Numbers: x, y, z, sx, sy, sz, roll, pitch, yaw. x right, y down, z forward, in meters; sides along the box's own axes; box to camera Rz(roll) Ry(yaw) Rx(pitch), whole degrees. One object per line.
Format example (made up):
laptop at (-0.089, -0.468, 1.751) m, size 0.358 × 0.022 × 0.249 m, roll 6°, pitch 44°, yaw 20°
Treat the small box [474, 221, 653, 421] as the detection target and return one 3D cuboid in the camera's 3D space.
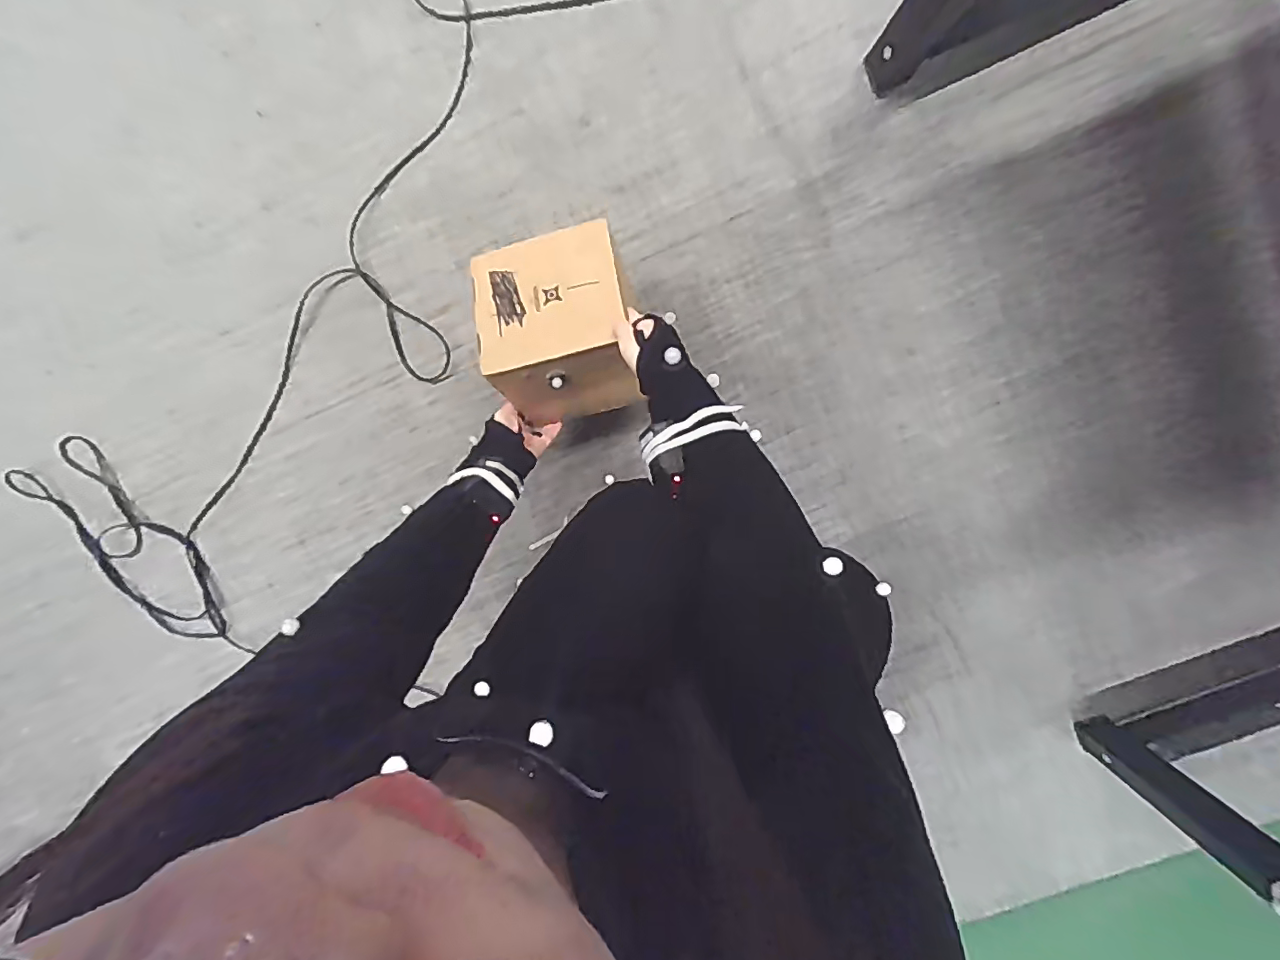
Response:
small box at (-0.093, -0.192, 0.704) m, size 0.179 × 0.176 × 0.168 m, roll -13°, pitch 74°, yaw 7°
